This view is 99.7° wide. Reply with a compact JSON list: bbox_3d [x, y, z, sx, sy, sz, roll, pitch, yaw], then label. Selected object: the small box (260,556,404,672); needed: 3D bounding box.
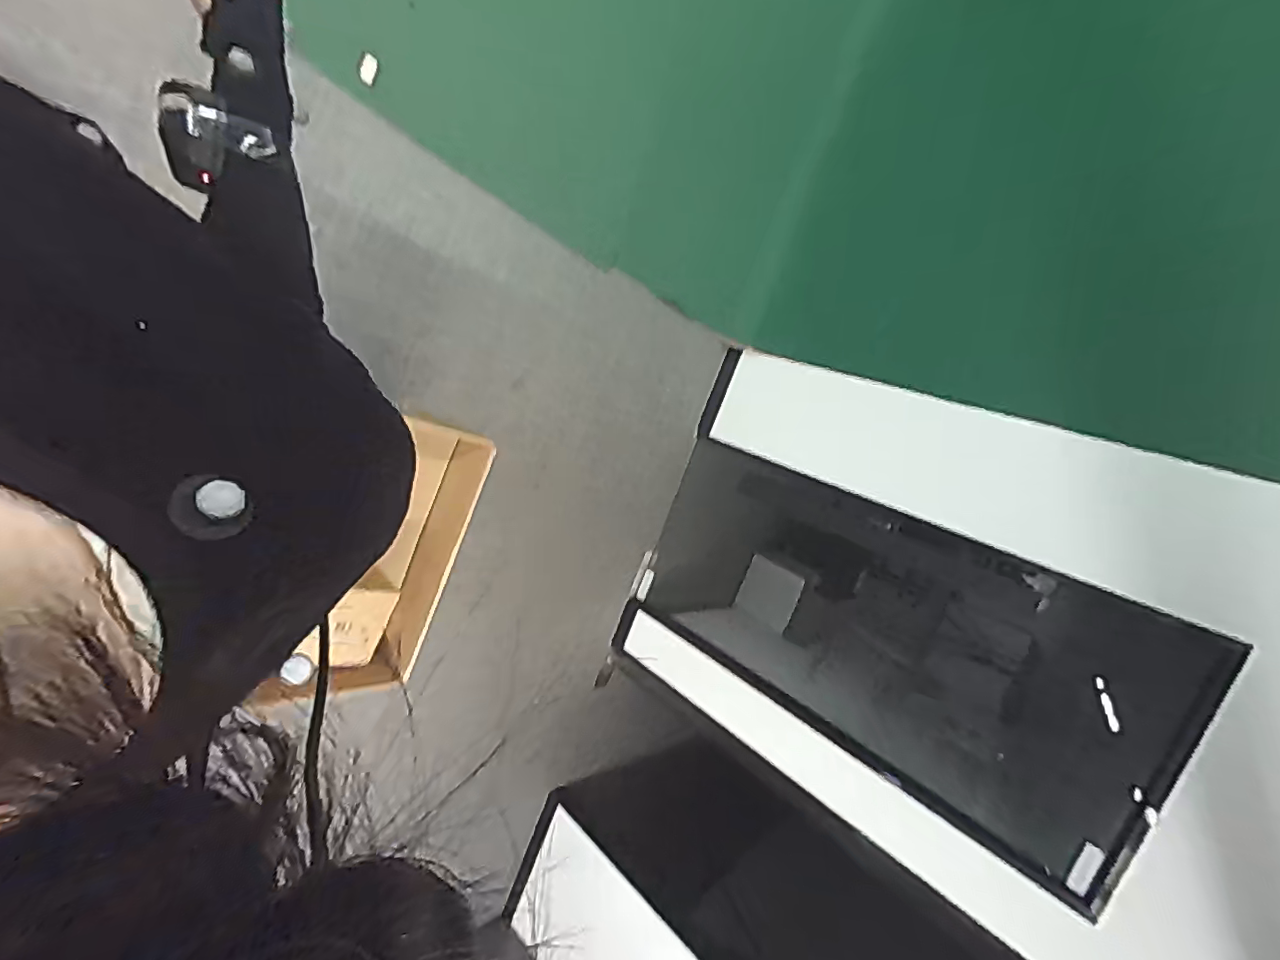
[{"bbox_3d":[-0.623,0.266,1.088,0.179,0.176,0.168,24,92,-53],"label":"small box"}]
